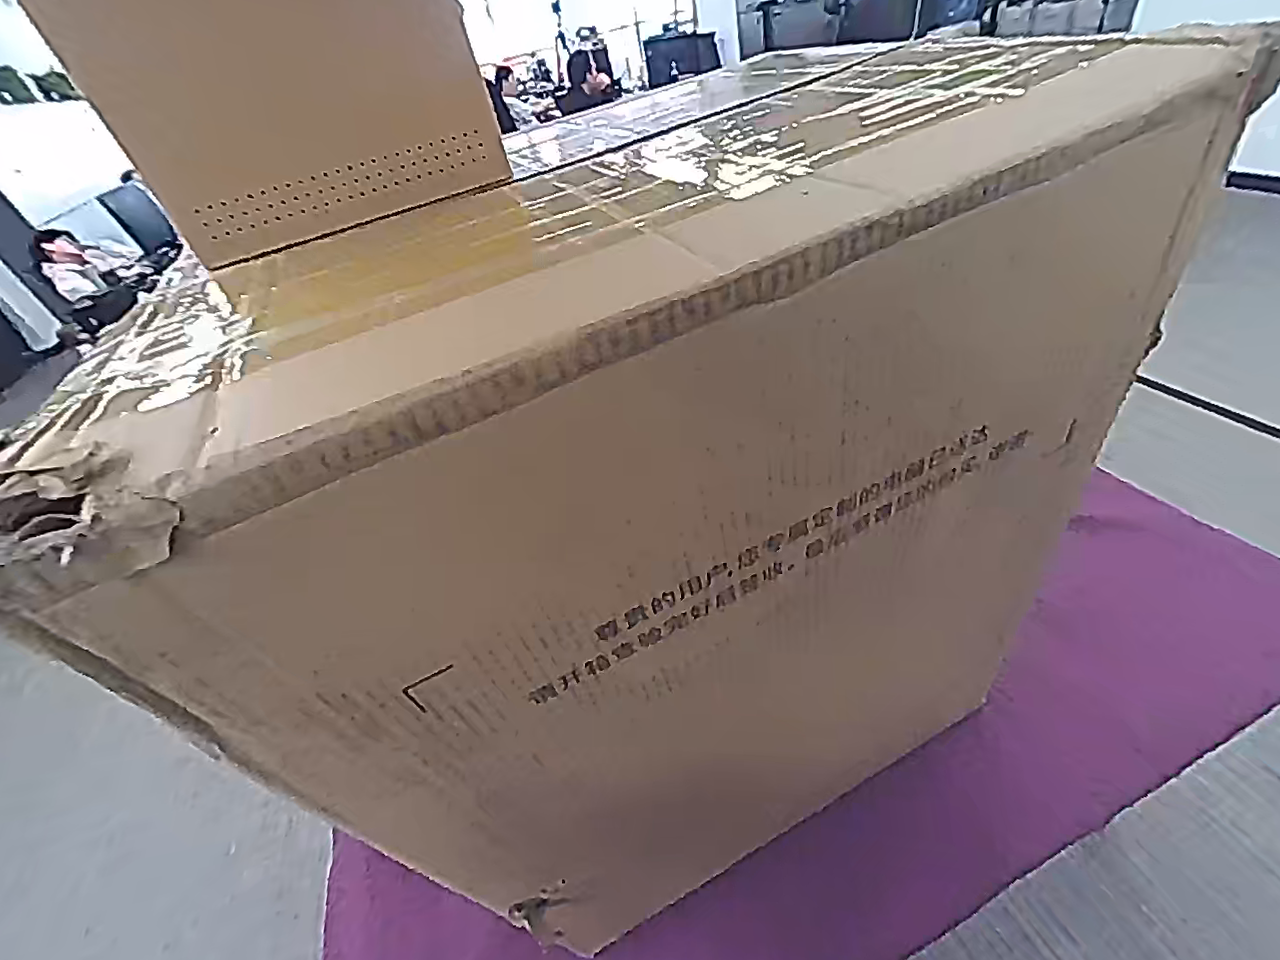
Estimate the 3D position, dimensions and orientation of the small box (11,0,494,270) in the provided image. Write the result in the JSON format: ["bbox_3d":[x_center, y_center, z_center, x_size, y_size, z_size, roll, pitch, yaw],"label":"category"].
[{"bbox_3d":[-0.197,-0.244,0.307,0.179,0.176,0.168,-25,41,-12],"label":"small box"}]
